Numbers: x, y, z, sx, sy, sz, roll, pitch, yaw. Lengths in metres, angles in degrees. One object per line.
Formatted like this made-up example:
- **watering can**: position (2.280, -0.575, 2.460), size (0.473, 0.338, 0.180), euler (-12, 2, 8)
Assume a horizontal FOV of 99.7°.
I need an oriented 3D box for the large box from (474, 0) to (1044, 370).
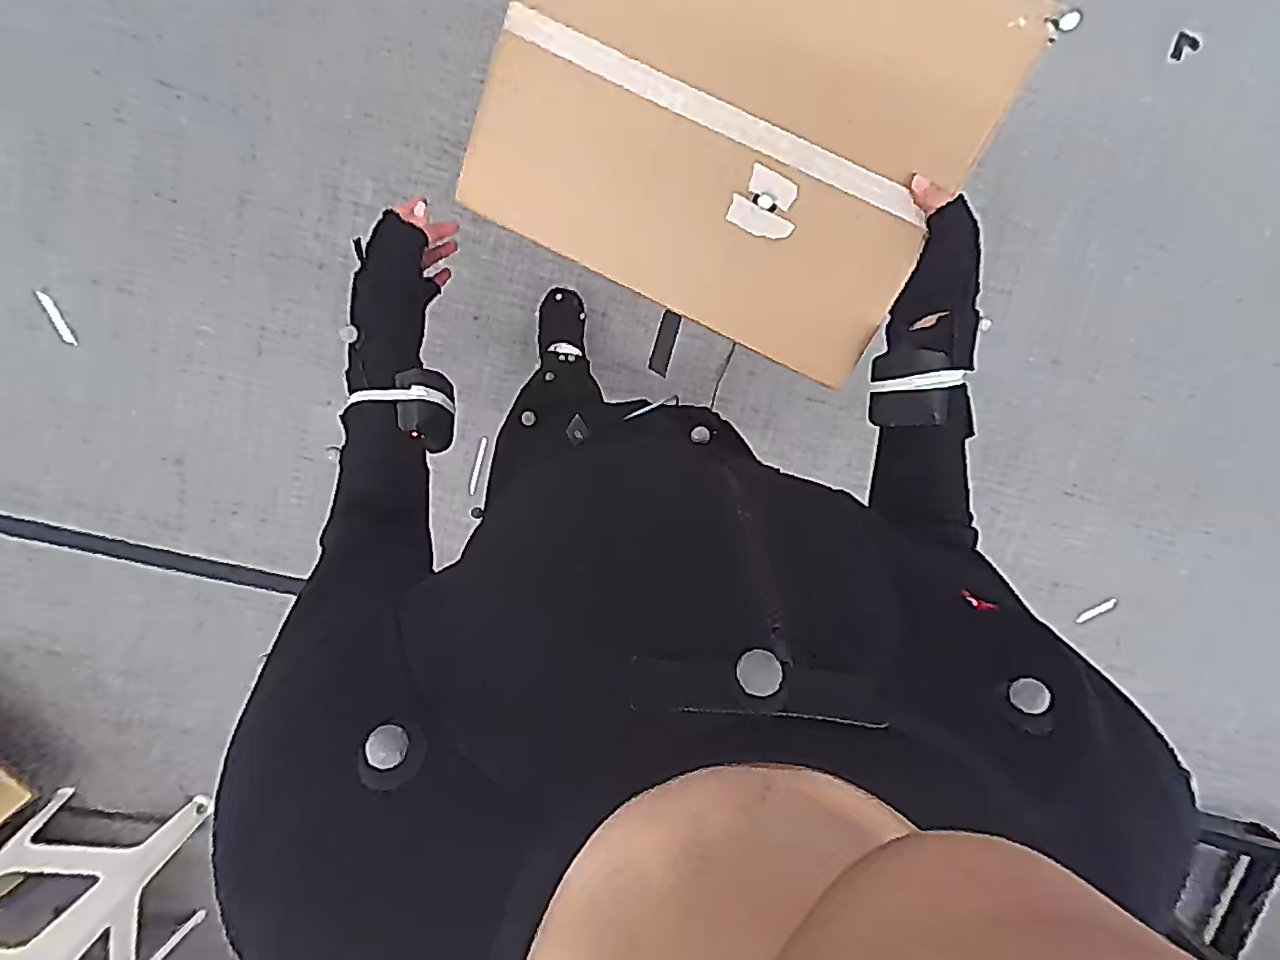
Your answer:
- **large box**: position (0.099, -0.361, 0.613), size (0.408, 0.320, 0.320), euler (28, 110, 1)
